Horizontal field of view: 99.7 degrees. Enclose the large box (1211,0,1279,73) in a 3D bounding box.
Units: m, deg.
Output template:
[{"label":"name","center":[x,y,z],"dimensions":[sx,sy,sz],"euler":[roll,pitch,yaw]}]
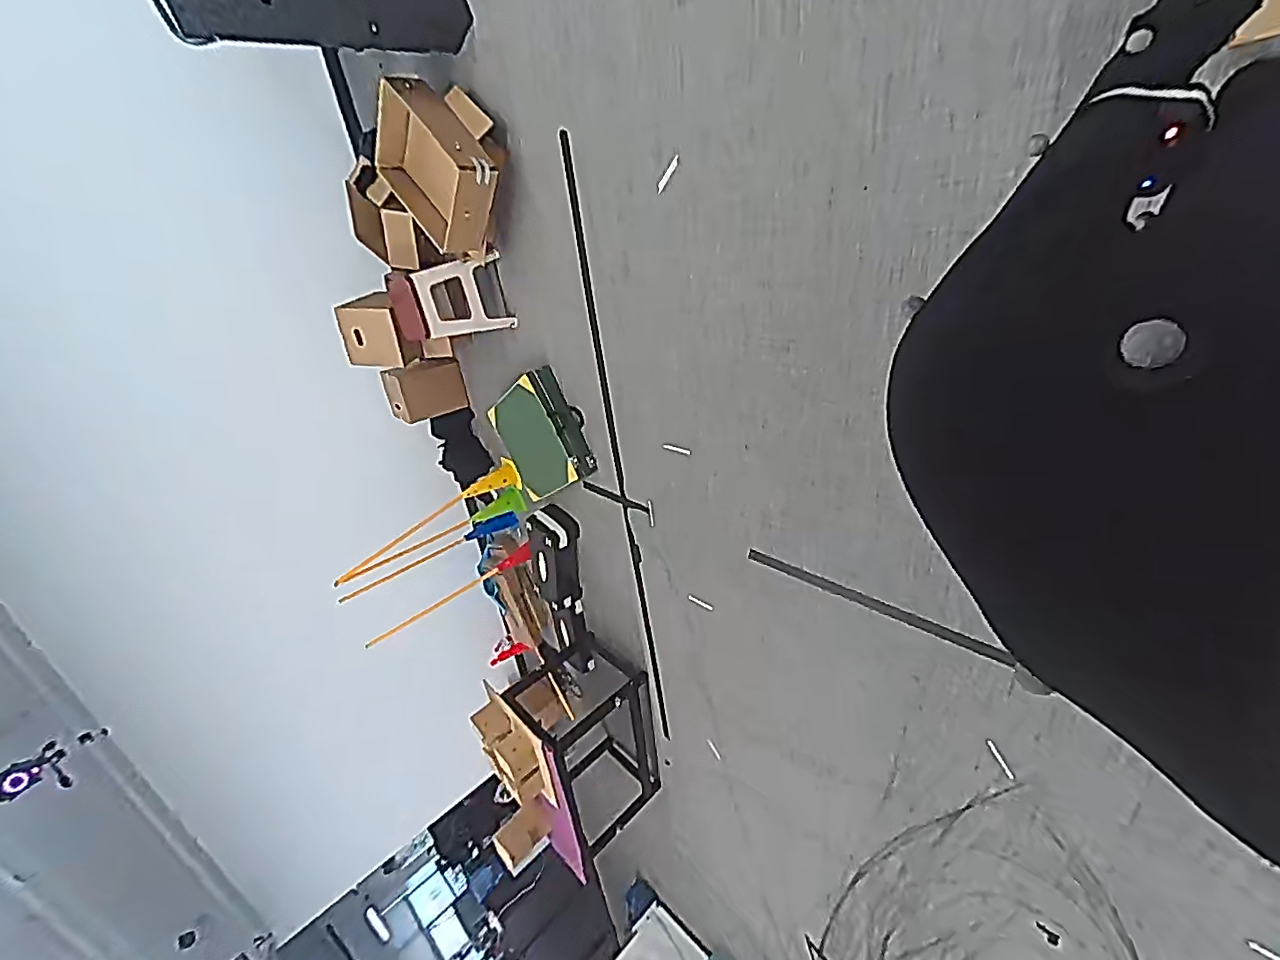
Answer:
[{"label":"large box","center":[0.994,-0.727,0.627],"dimensions":[0.408,0.320,0.320],"euler":[17,126,44]}]
